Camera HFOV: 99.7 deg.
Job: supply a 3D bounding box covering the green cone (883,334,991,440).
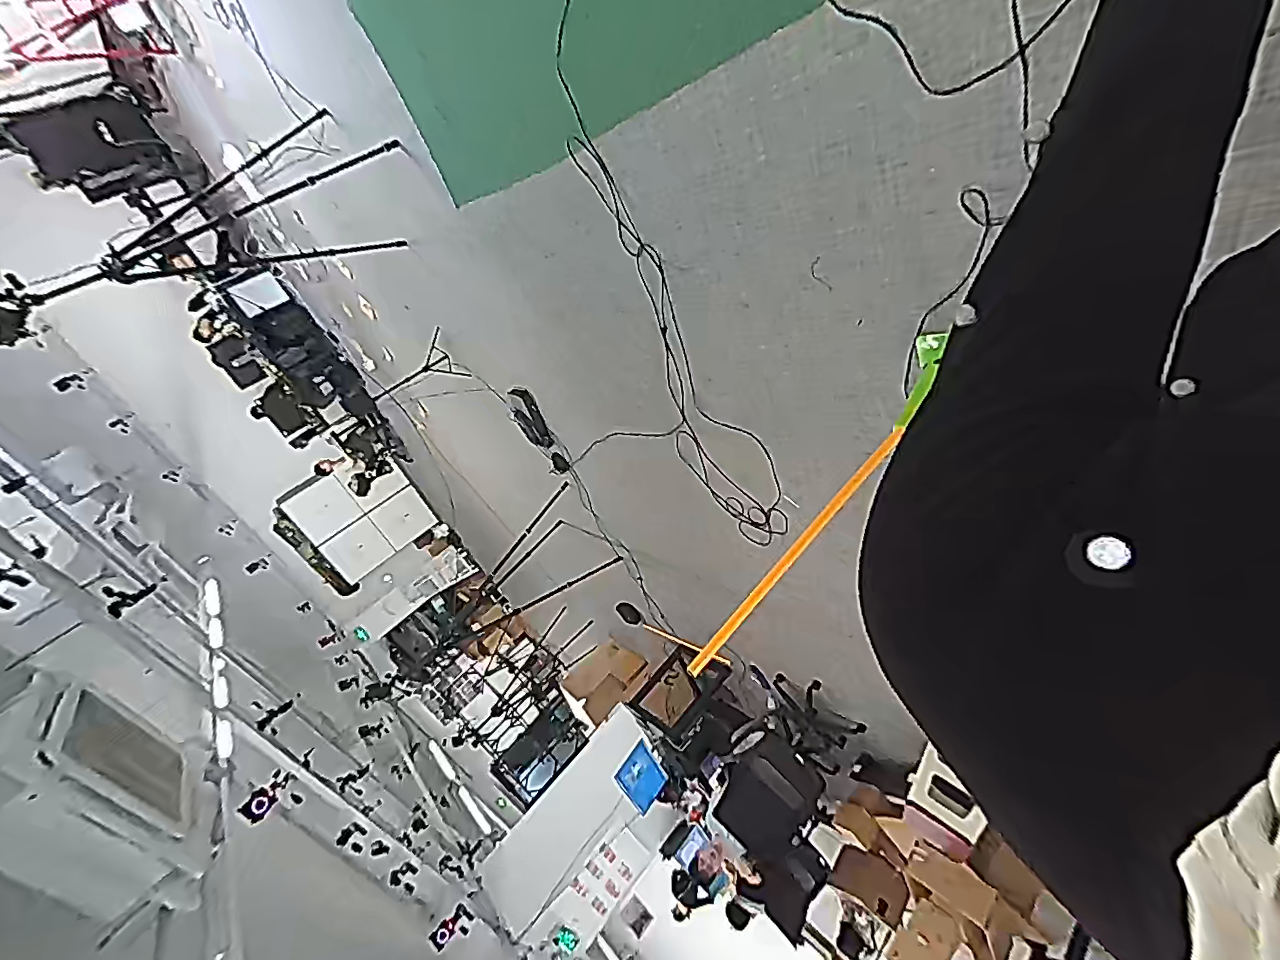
[{"bbox_3d":[0.796,-0.232,1.517,0.202,0.368,0.200,12,136,53],"label":"green cone"}]
